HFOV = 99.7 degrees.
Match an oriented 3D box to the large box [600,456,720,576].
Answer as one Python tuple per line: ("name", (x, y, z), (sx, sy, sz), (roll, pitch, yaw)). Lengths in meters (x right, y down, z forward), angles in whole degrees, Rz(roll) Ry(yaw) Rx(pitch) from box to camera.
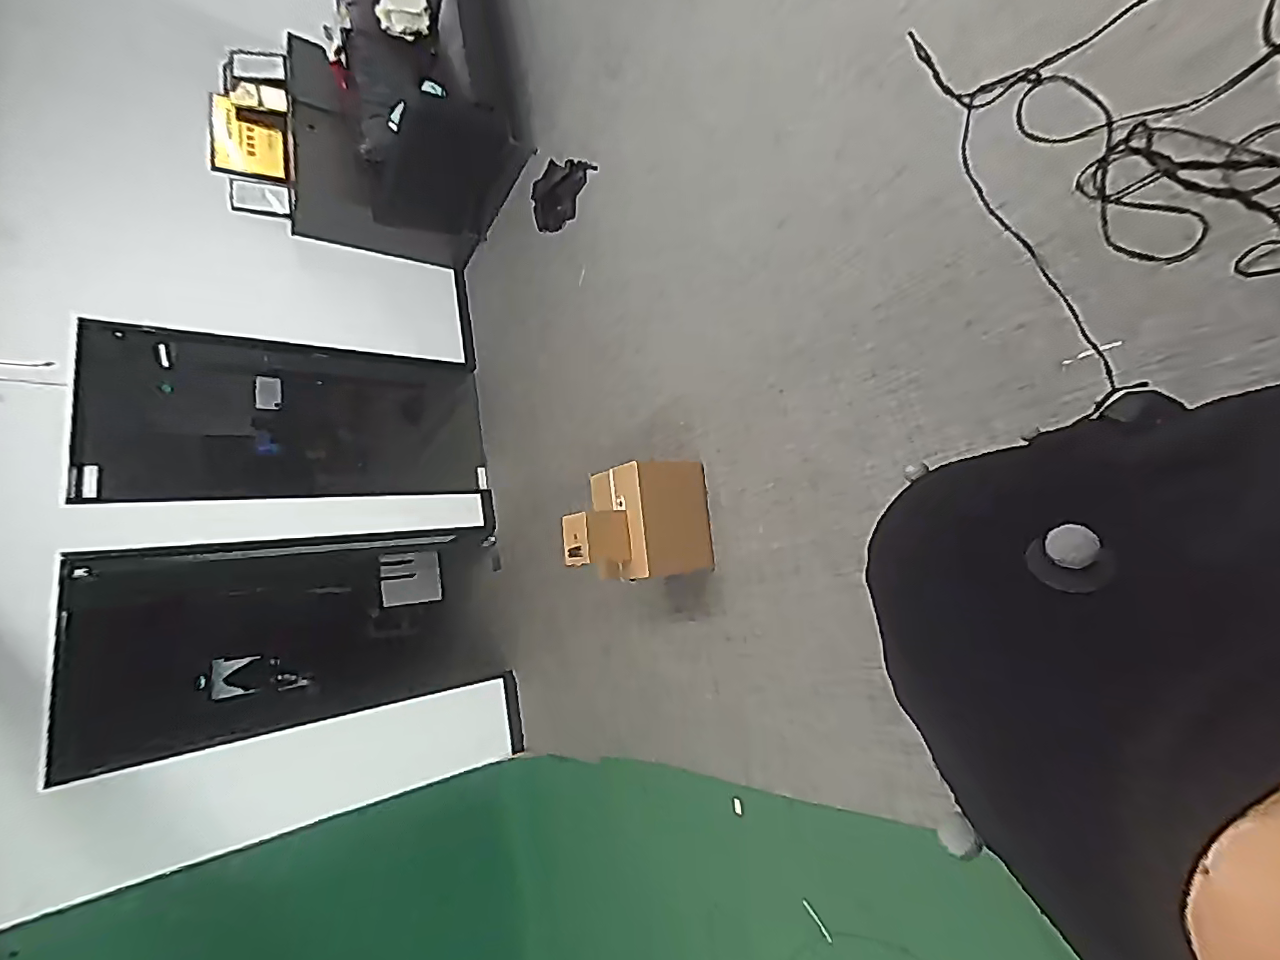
("large box", (0.071, 0.141, 2.034), (0.320, 0.320, 0.408), (-16, 76, 52))
